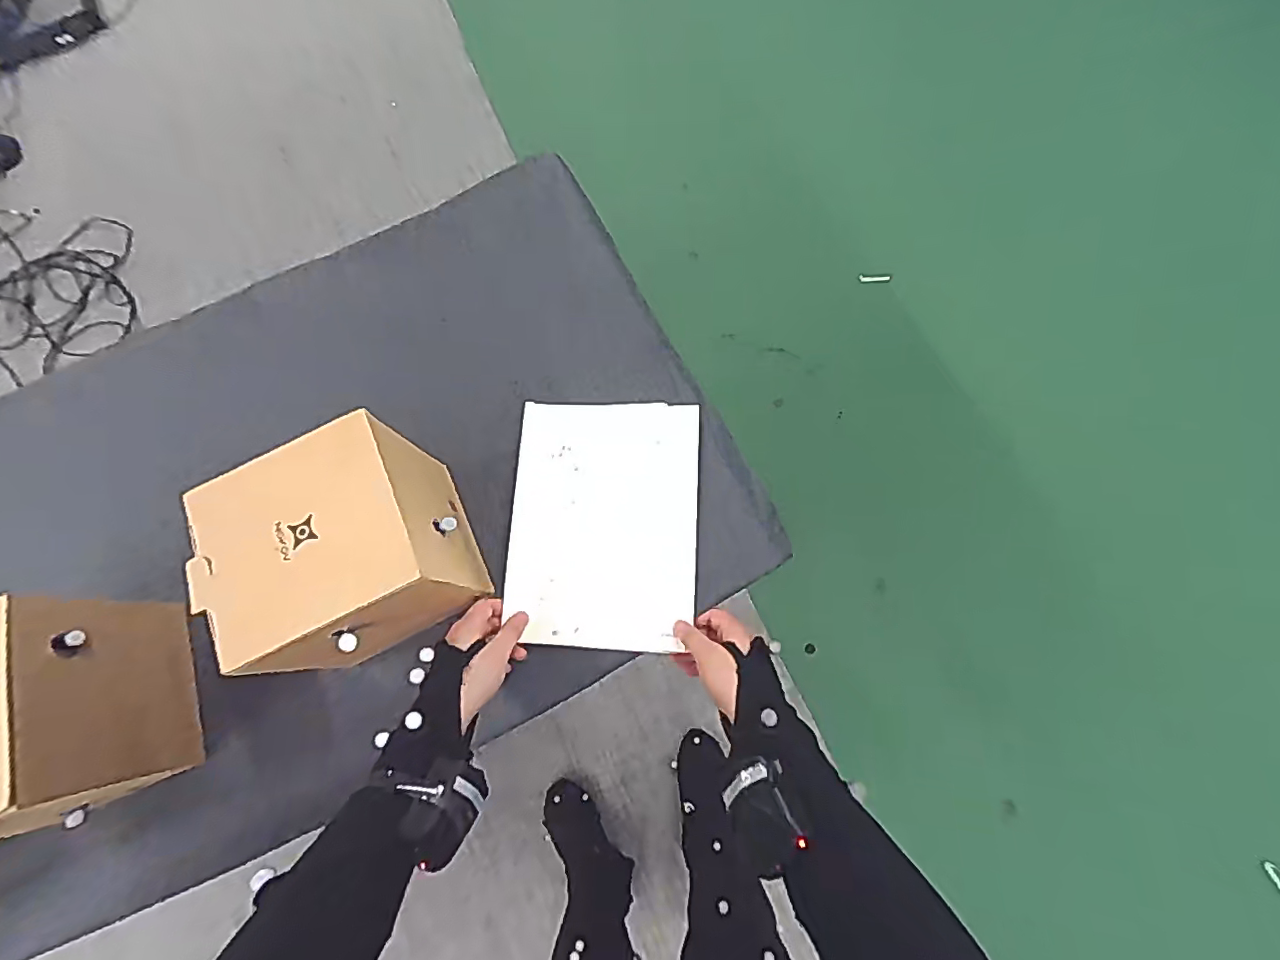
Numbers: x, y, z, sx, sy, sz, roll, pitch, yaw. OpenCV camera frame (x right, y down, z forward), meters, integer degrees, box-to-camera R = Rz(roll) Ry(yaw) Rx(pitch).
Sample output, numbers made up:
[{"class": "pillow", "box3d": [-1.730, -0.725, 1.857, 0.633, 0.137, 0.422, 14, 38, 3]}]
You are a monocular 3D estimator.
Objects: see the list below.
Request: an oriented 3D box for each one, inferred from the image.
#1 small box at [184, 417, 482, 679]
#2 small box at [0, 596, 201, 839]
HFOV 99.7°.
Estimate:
[{"class": "small box", "box3d": [-0.274, 0.070, 0.522, 0.179, 0.176, 0.168, -27, 73, -1]}, {"class": "small box", "box3d": [-0.565, 0.227, 0.508, 0.168, 0.176, 0.179, -23, 73, 0]}]
